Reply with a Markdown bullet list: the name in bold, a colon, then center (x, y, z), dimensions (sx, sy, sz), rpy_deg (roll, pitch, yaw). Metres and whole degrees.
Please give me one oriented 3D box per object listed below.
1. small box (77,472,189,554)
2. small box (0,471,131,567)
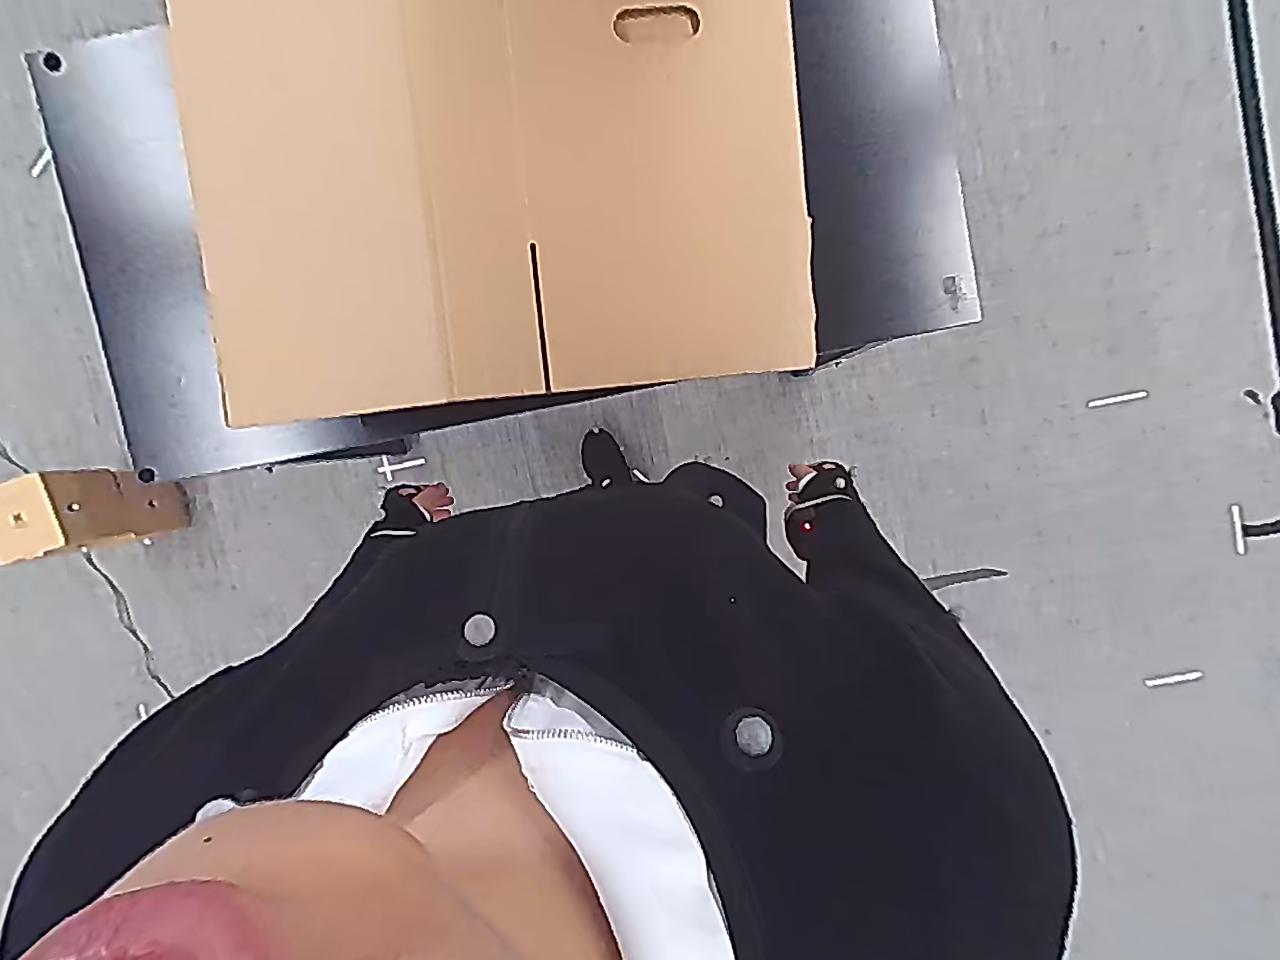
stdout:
- **small box**: center (-1.367, 0.081, 1.440), dimensions (0.168, 0.176, 0.179), rpy_deg (-15, 94, 2)
- **small box**: center (-1.371, 0.085, 1.277), dimensions (0.168, 0.176, 0.179), rpy_deg (-18, 93, 1)
